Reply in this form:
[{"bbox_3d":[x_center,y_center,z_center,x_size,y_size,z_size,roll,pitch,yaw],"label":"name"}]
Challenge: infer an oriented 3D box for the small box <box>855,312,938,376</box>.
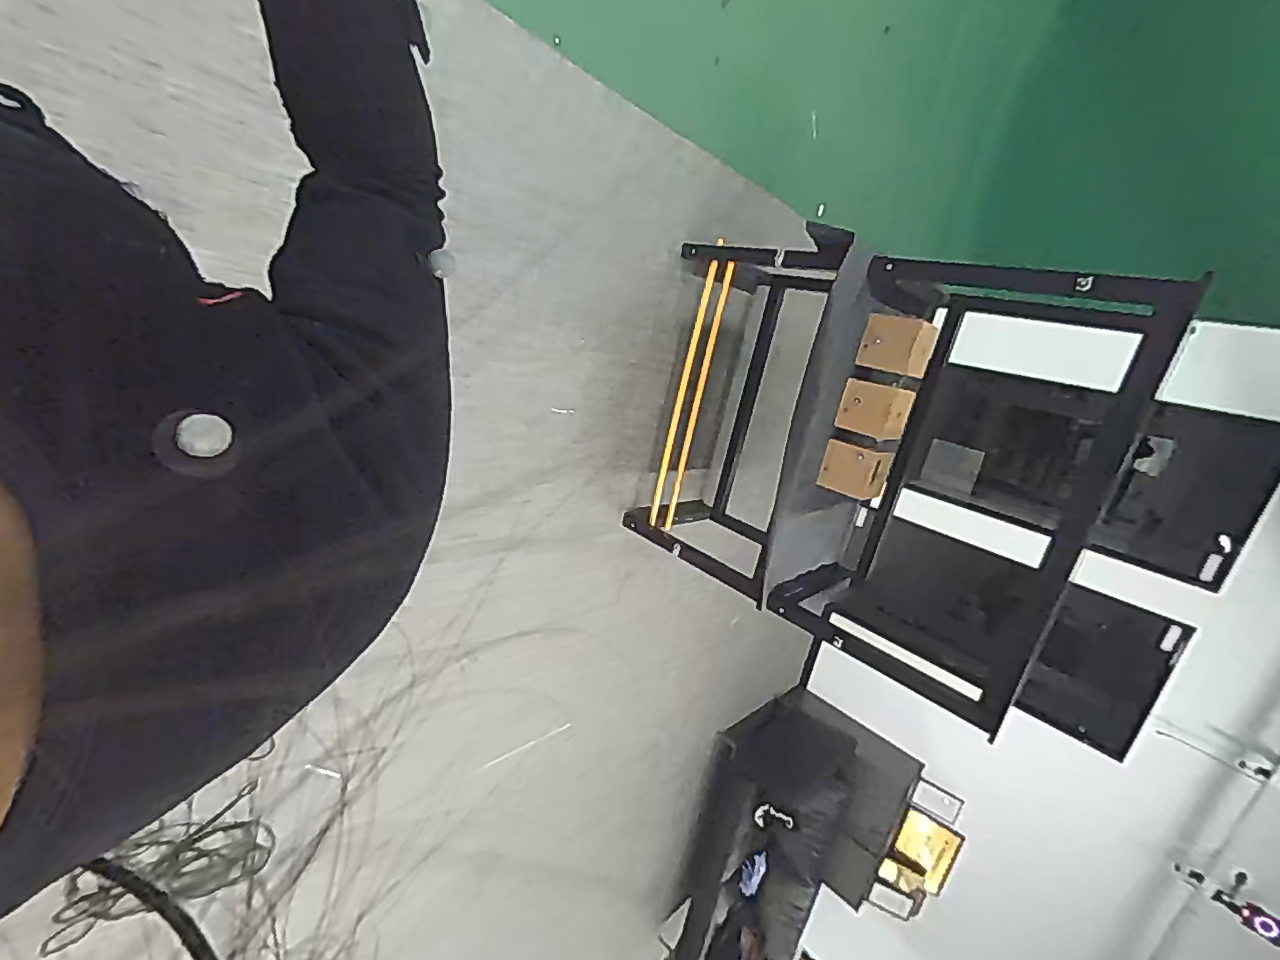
[{"bbox_3d":[0.826,-0.440,1.748,0.179,0.176,0.168,-5,114,-47],"label":"small box"}]
